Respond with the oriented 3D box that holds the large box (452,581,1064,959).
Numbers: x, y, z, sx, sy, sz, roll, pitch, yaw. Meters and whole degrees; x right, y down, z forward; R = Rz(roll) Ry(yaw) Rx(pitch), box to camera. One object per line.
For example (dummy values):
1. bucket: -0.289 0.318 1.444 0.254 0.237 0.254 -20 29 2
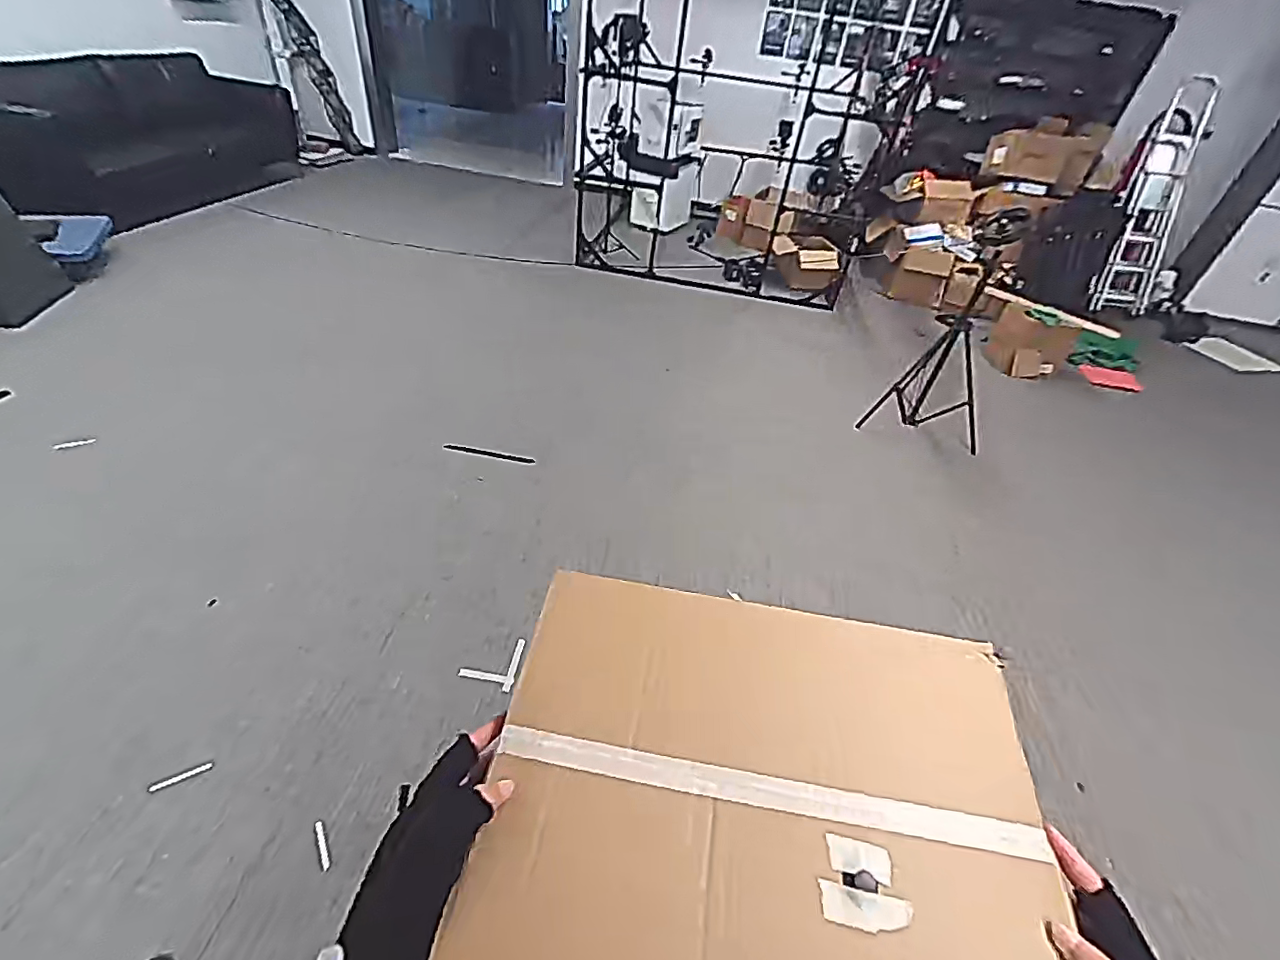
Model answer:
1. large box: 0.089 0.336 0.529 0.408 0.320 0.320 9 49 5
